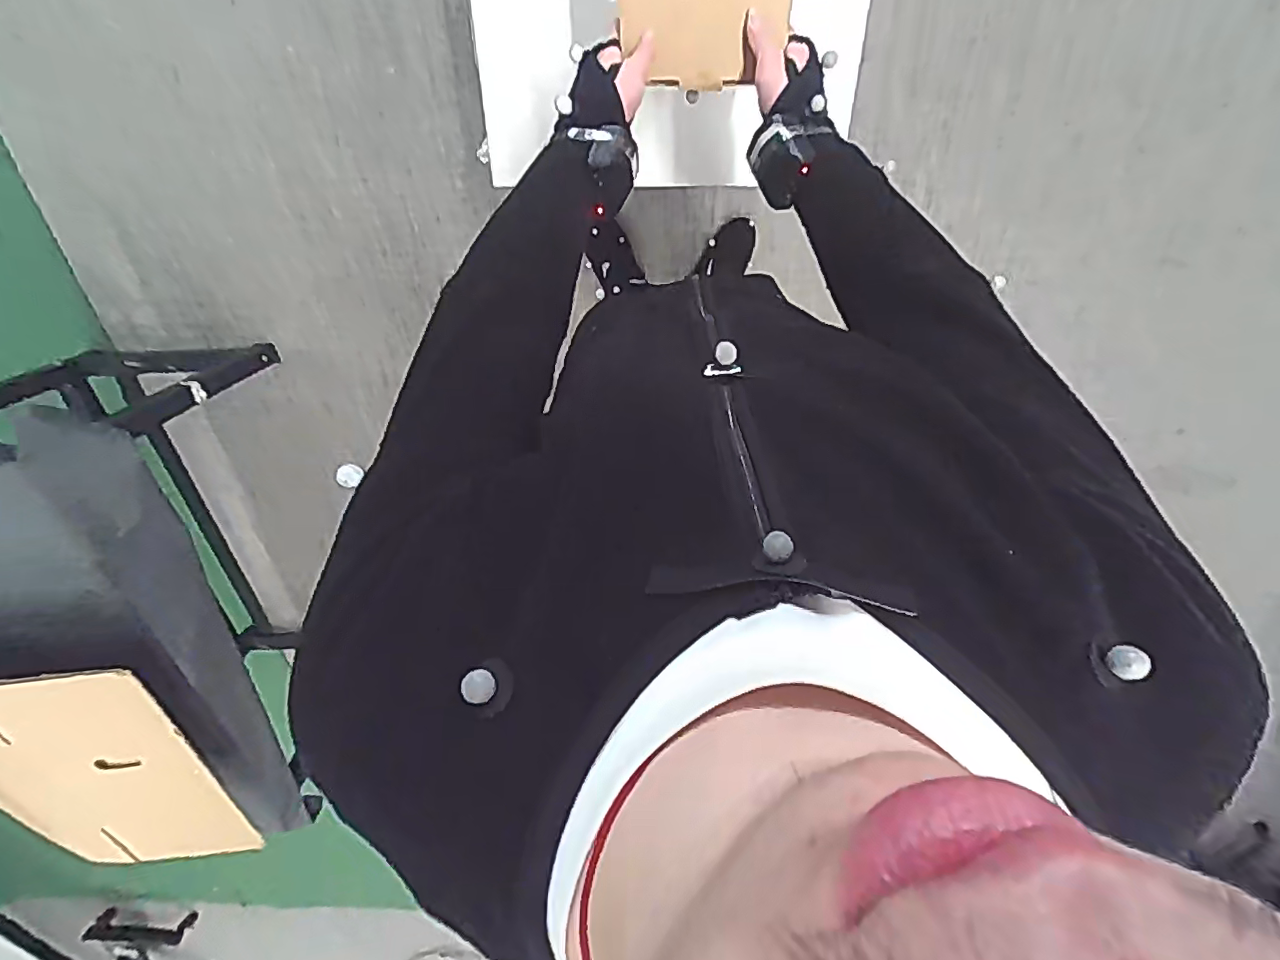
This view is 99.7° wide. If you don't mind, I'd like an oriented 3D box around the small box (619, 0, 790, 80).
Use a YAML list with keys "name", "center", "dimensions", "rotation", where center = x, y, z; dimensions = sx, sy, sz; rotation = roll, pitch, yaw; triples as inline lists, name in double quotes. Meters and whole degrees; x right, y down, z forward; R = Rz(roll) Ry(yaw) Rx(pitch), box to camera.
- name: "small box"
  center: [0.063, -0.528, 0.563]
  dimensions: [0.168, 0.176, 0.179]
  rotation: [-1, 125, 1]
